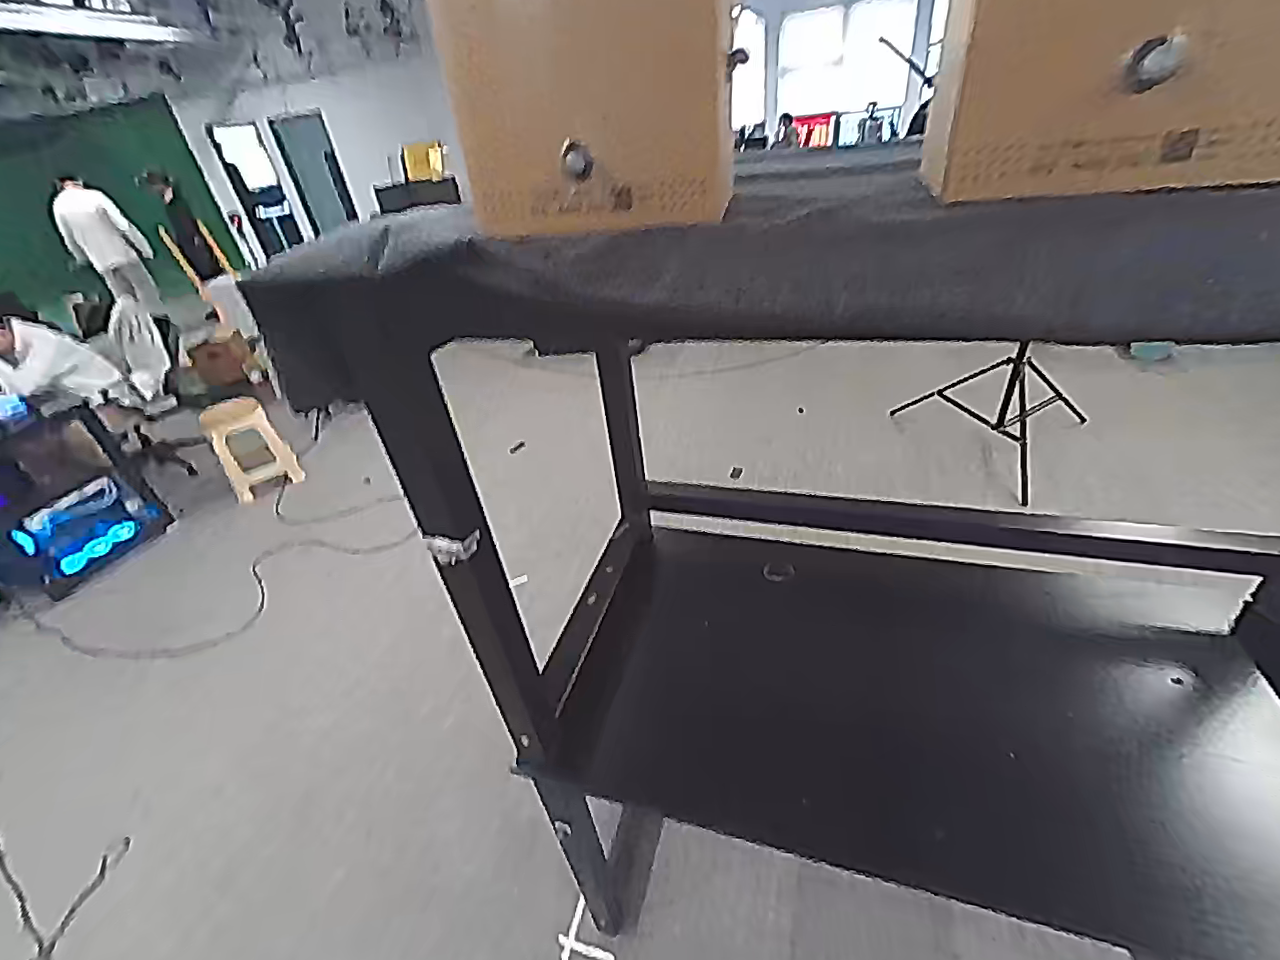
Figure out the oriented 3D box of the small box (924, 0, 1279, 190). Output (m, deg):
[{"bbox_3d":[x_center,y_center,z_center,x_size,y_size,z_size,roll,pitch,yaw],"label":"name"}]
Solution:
[{"bbox_3d":[0.273,-0.271,0.313,0.168,0.176,0.179,5,33,20],"label":"small box"}]
